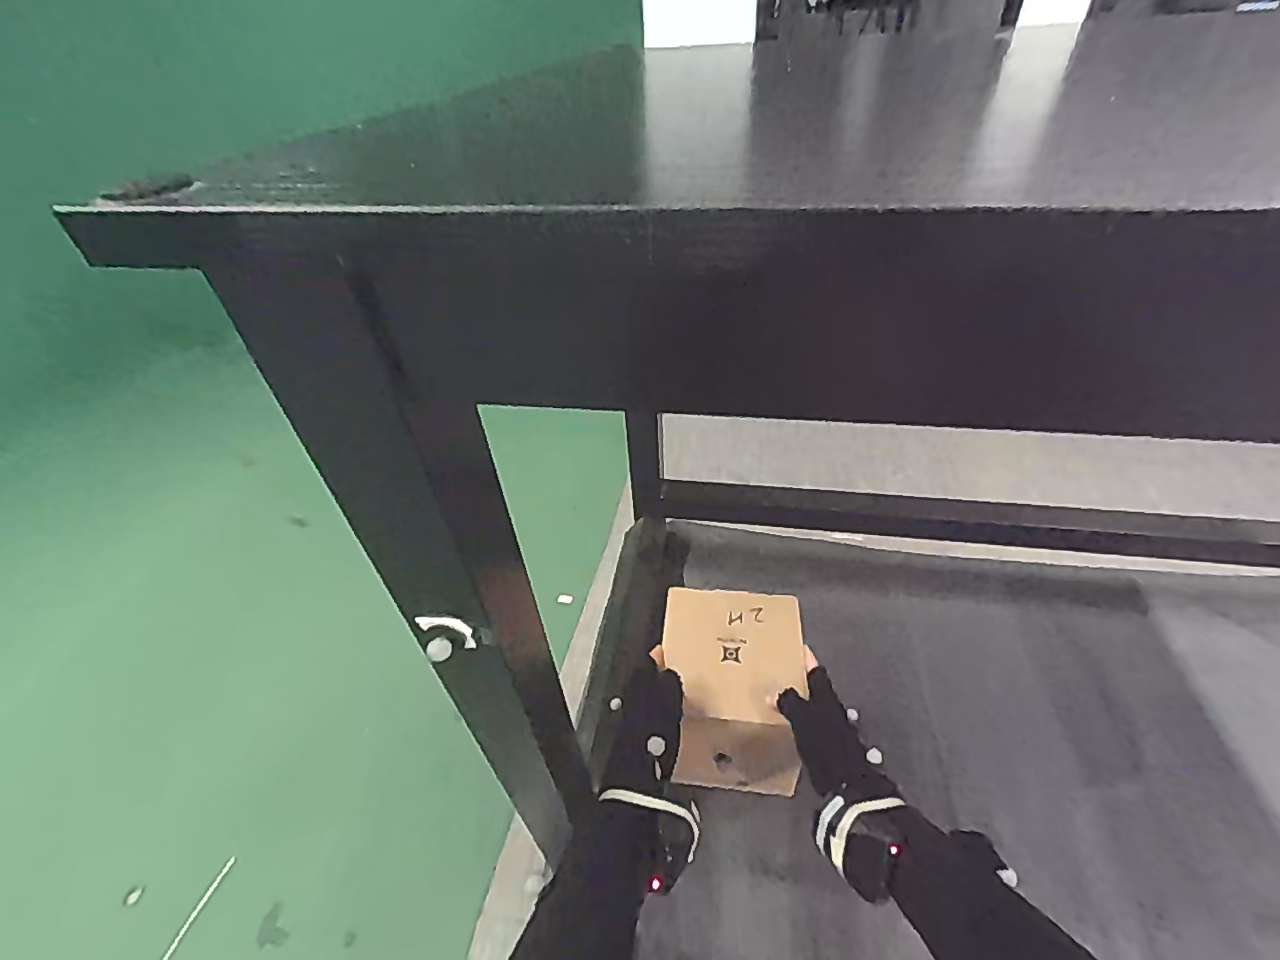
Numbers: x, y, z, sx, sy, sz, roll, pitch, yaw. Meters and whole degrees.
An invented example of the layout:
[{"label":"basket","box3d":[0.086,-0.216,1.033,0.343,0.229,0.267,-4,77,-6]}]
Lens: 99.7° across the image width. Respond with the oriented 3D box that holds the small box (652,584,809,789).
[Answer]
[{"label":"small box","box3d":[0.109,0.255,0.672,0.168,0.176,0.179,4,39,8]}]
